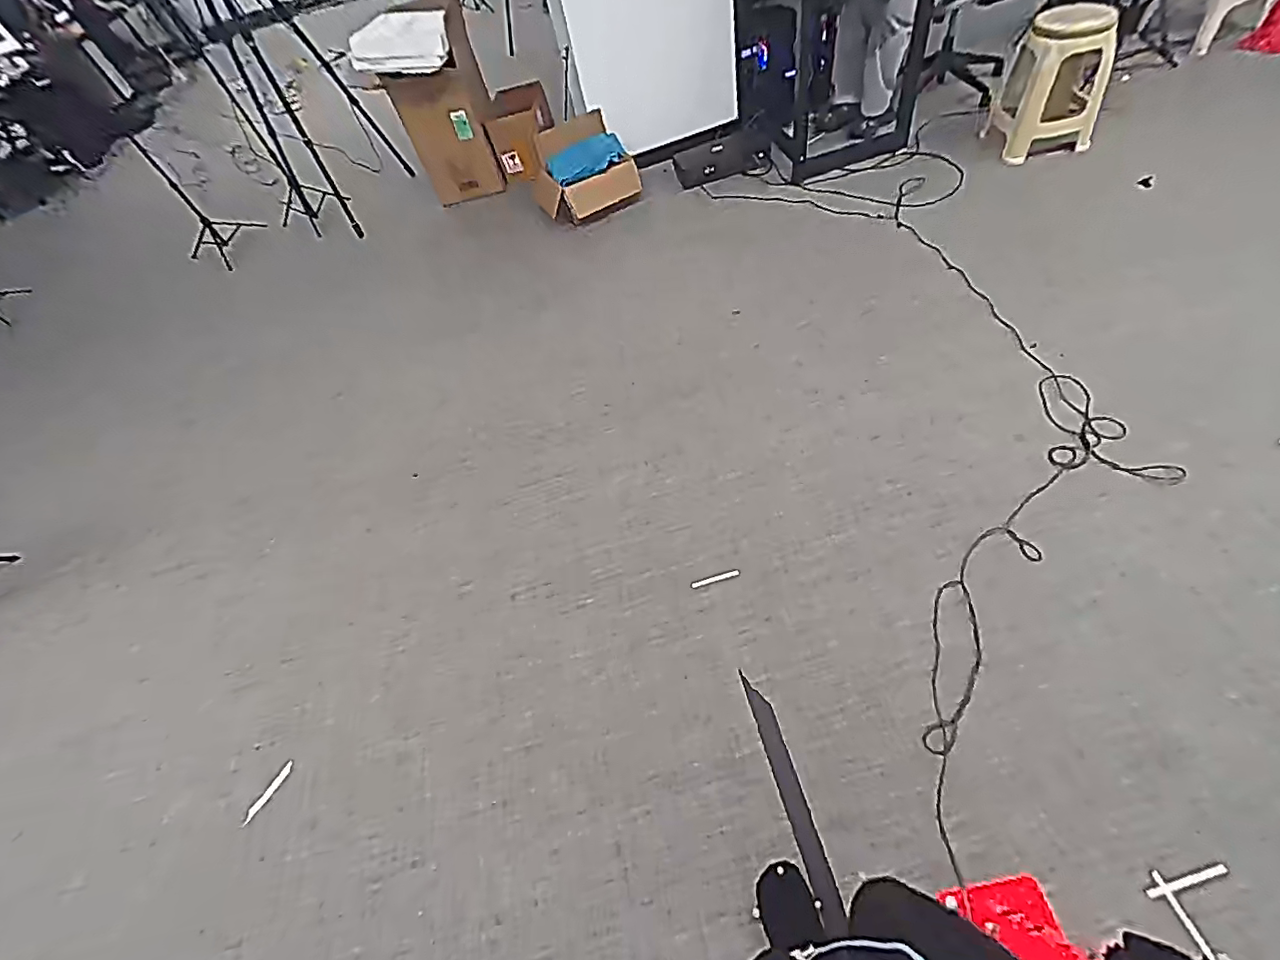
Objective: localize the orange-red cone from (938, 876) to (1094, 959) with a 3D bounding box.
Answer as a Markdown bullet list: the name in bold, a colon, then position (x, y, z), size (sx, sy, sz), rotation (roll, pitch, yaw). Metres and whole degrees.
- **orange-red cone**: position (0.649, 0.764, 0.854), size (0.199, 0.360, 0.198), rotation (-13, 54, 3)
